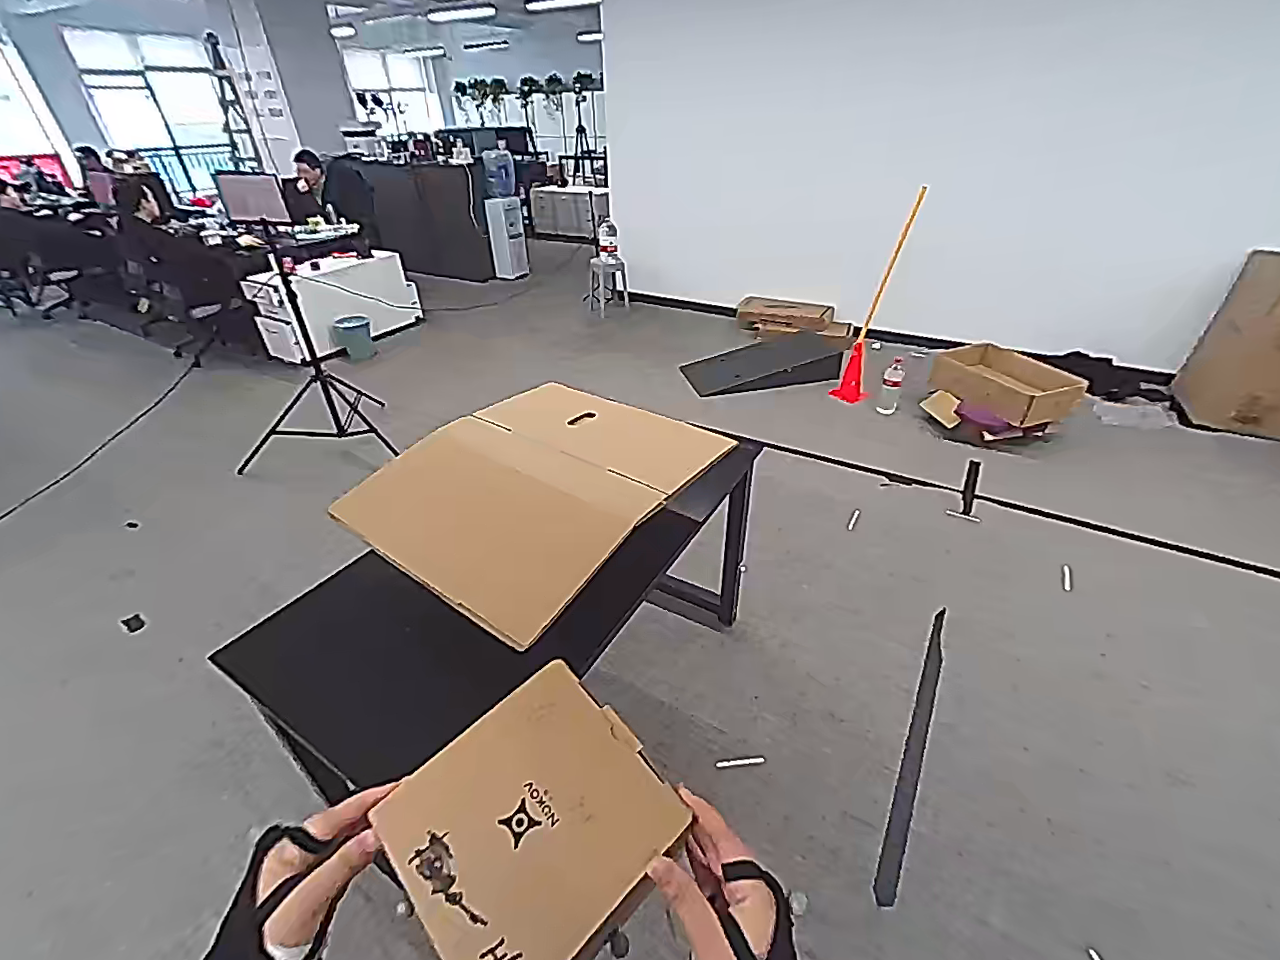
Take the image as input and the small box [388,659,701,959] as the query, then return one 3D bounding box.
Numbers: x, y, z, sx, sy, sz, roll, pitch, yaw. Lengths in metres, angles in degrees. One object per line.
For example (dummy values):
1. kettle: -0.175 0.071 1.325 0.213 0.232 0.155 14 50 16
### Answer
1. small box: -0.072 0.297 0.457 0.179 0.176 0.168 -35 55 -28
